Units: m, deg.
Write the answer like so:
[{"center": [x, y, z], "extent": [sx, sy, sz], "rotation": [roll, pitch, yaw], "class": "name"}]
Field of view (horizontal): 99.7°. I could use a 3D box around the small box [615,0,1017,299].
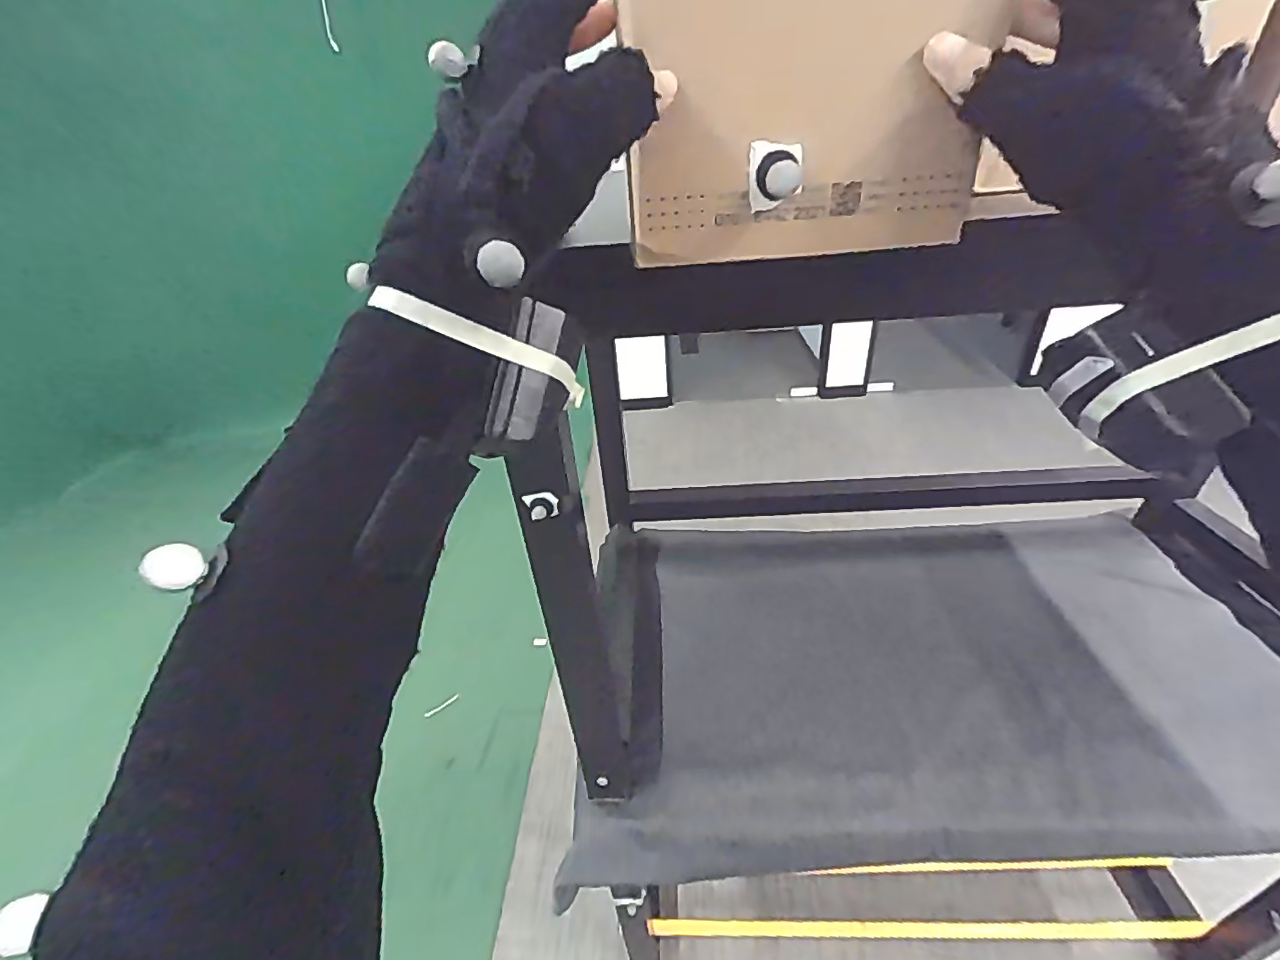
[{"center": [0.073, -0.211, 0.307], "extent": [0.168, 0.176, 0.179], "rotation": [-5, 34, 2], "class": "small box"}]
